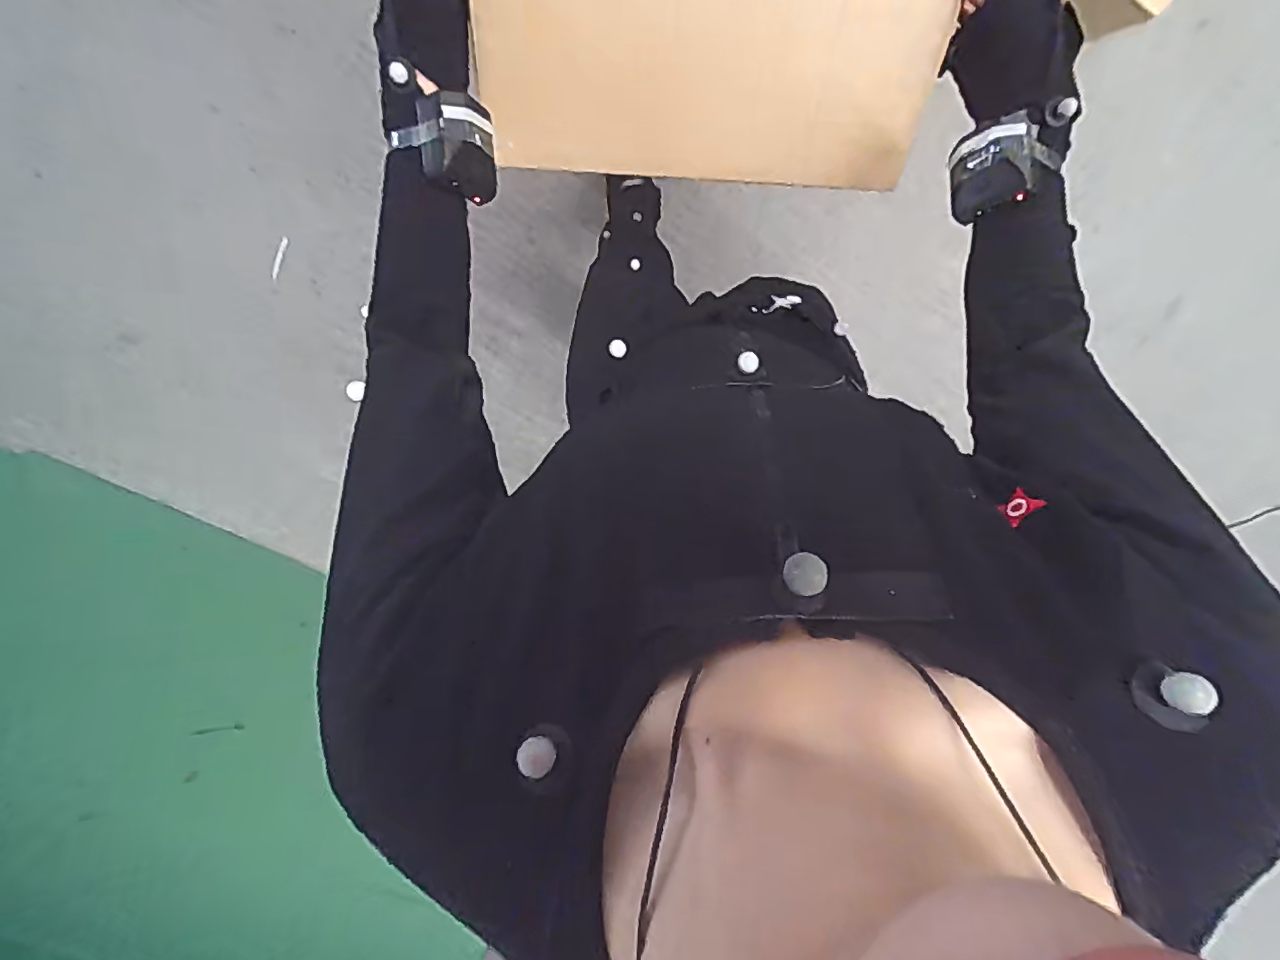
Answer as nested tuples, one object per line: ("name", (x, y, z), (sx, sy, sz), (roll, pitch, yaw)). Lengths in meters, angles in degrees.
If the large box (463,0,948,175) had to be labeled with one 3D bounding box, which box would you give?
("large box", (0.055, -0.517, 0.522), (0.408, 0.320, 0.320), (2, 132, -4))
